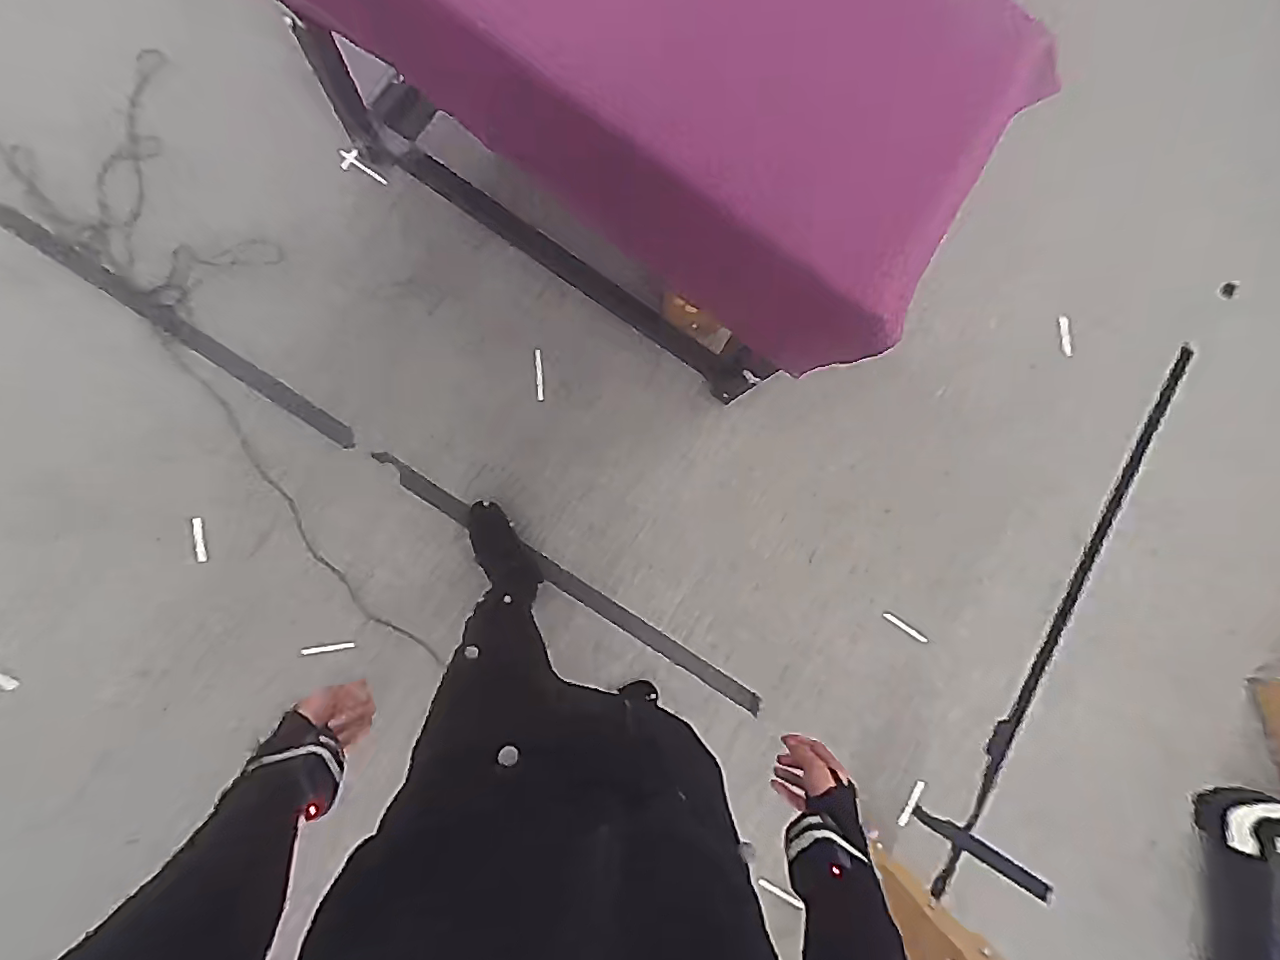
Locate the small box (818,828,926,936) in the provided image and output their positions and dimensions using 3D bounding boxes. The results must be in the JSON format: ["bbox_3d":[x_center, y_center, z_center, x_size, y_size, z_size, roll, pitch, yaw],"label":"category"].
[{"bbox_3d":[0.597,1.072,1.419,0.168,0.176,0.179,32,82,-6],"label":"small box"}]

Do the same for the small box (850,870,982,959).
[{"bbox_3d":[0.634,1.066,1.260,0.179,0.176,0.168,36,82,-4],"label":"small box"}]
